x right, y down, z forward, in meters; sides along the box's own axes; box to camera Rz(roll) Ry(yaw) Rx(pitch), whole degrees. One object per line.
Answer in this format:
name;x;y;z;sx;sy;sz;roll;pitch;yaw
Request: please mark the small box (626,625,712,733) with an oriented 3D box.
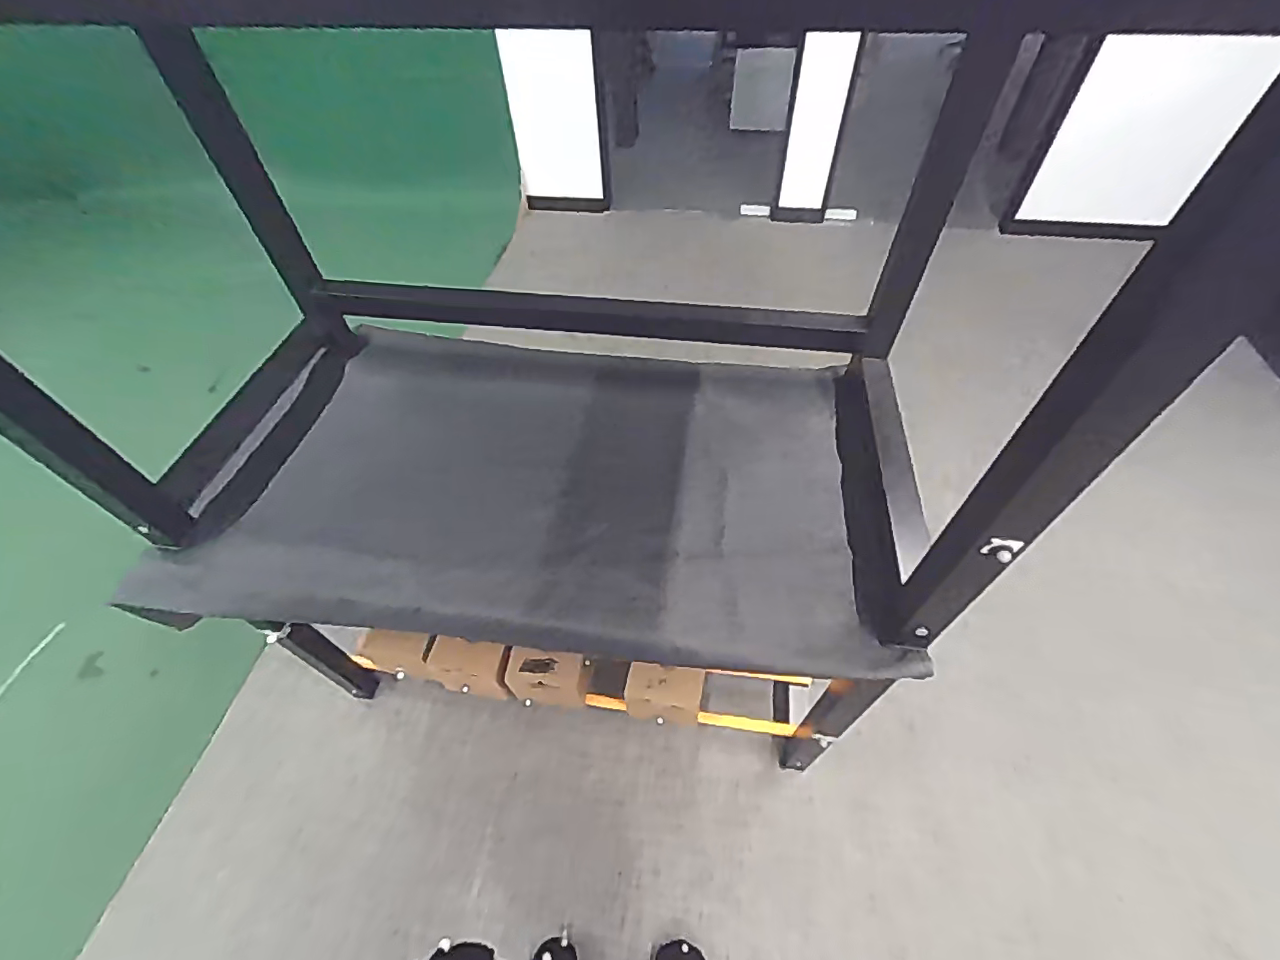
small box;0.071;0.471;1.275;0.168;0.176;0.179;9;54;11
